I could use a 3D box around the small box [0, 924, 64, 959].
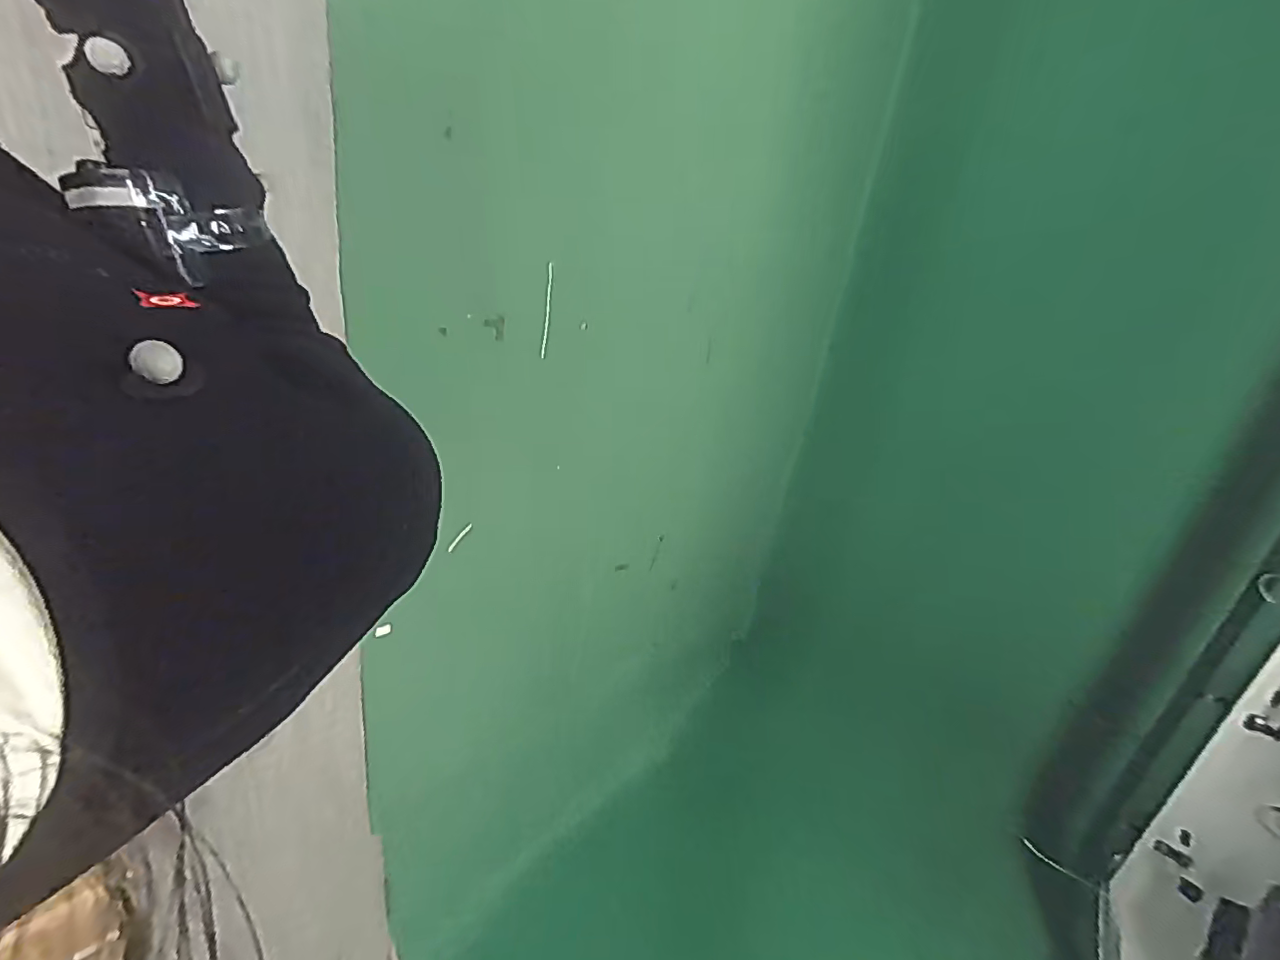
[{"bbox_3d":[-1.147,0.952,0.961,0.168,0.176,0.179,-21,126,-47],"label":"small box"}]
